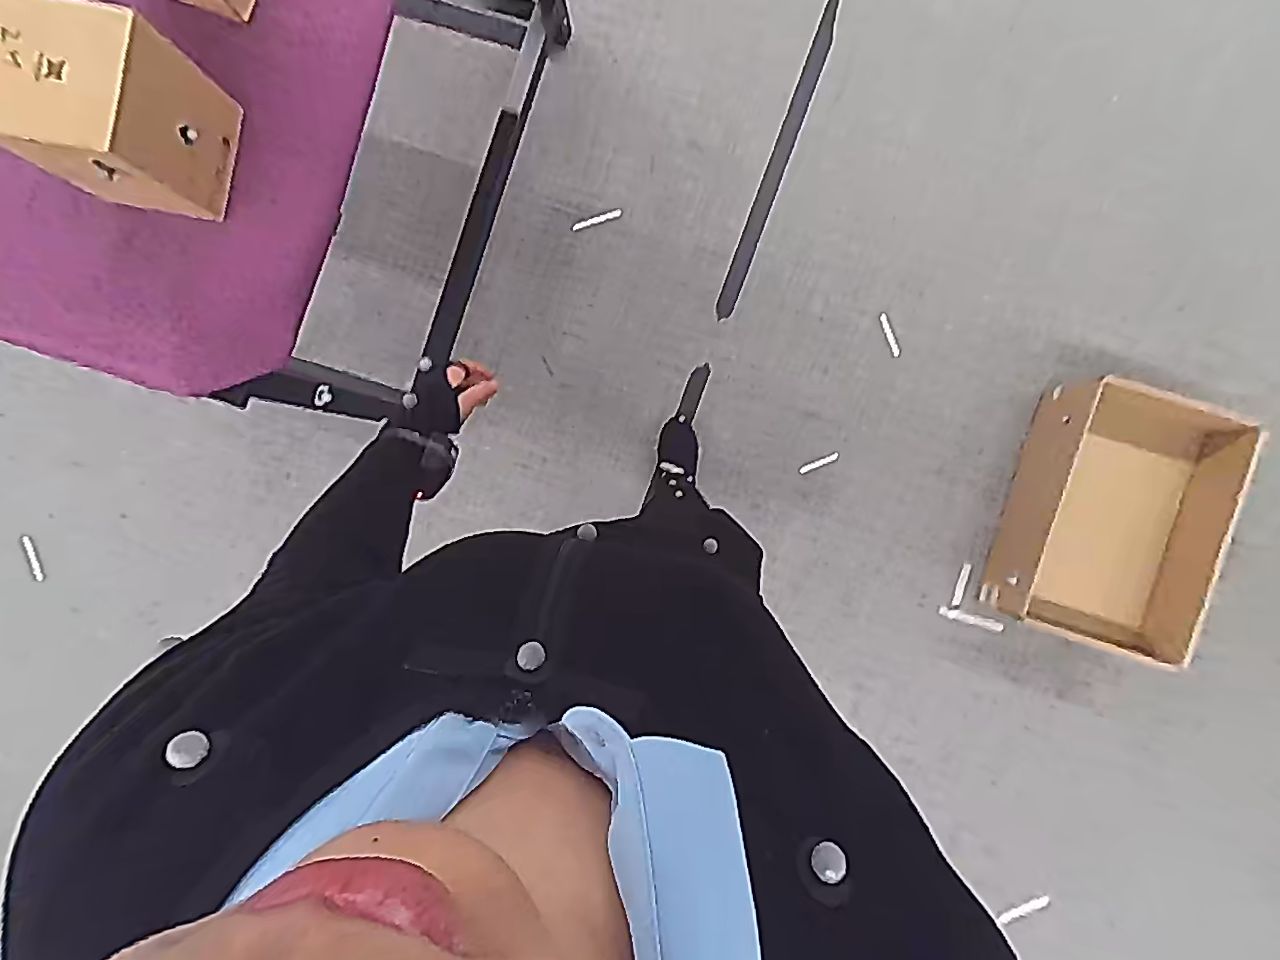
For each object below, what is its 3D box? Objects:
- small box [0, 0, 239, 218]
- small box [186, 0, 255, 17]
[{"bbox_3d":[-0.665,-0.463,0.692,0.179,0.176,0.168,11,89,2],"label":"small box"},{"bbox_3d":[-0.617,-0.758,0.696,0.179,0.176,0.168,21,90,1],"label":"small box"}]
